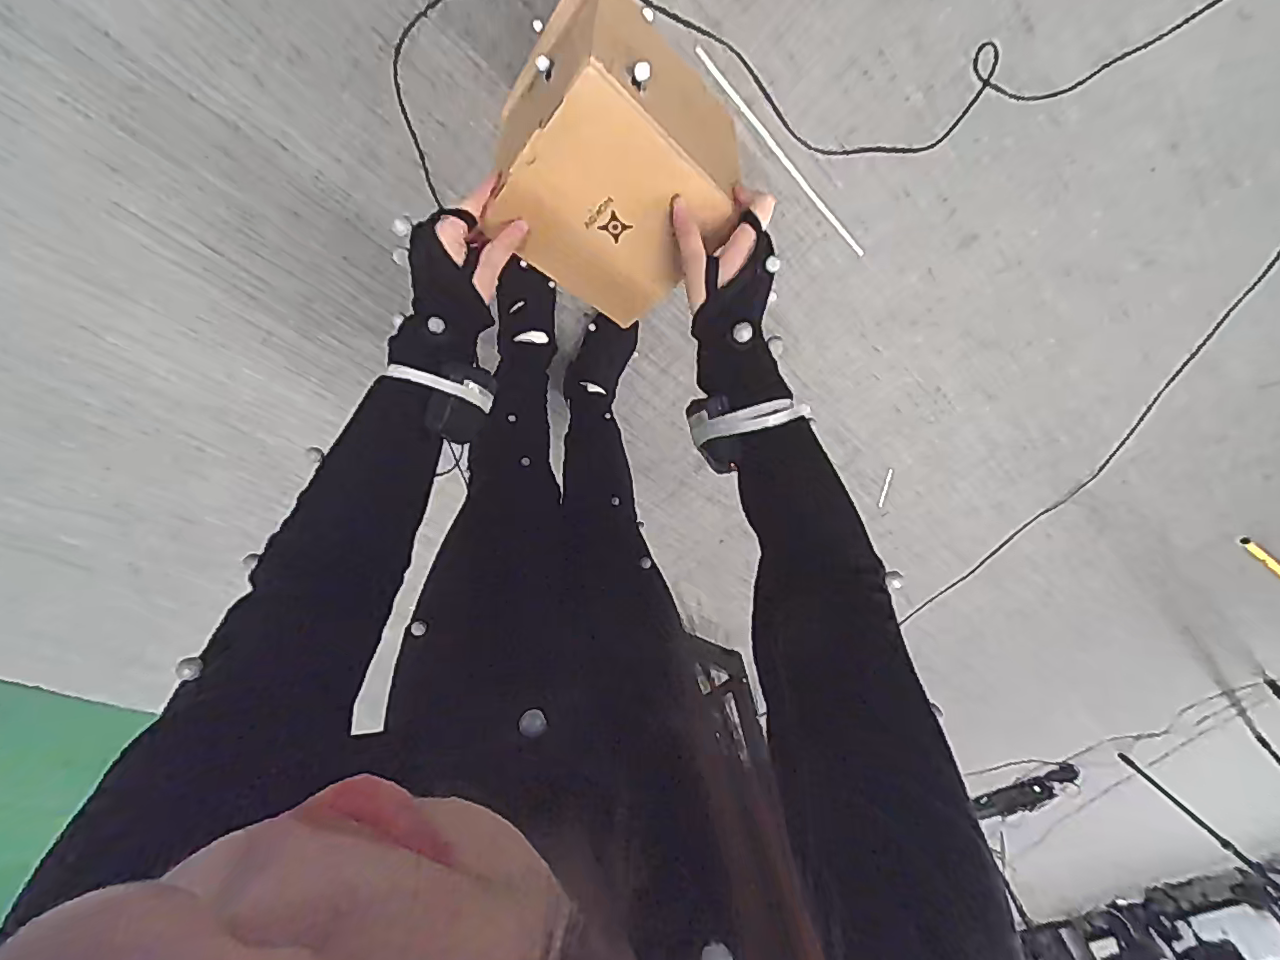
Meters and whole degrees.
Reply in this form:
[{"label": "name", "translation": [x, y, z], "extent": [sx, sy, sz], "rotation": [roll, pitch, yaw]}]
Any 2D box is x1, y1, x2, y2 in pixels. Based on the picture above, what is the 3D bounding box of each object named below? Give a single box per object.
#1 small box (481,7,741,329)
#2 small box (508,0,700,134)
[{"label": "small box", "translation": [-0.021, -0.290, 0.519], "extent": [0.179, 0.176, 0.168], "rotation": [27, 140, -31]}, {"label": "small box", "translation": [-0.048, -0.489, 0.698], "extent": [0.168, 0.176, 0.179], "rotation": [29, 120, -26]}]
